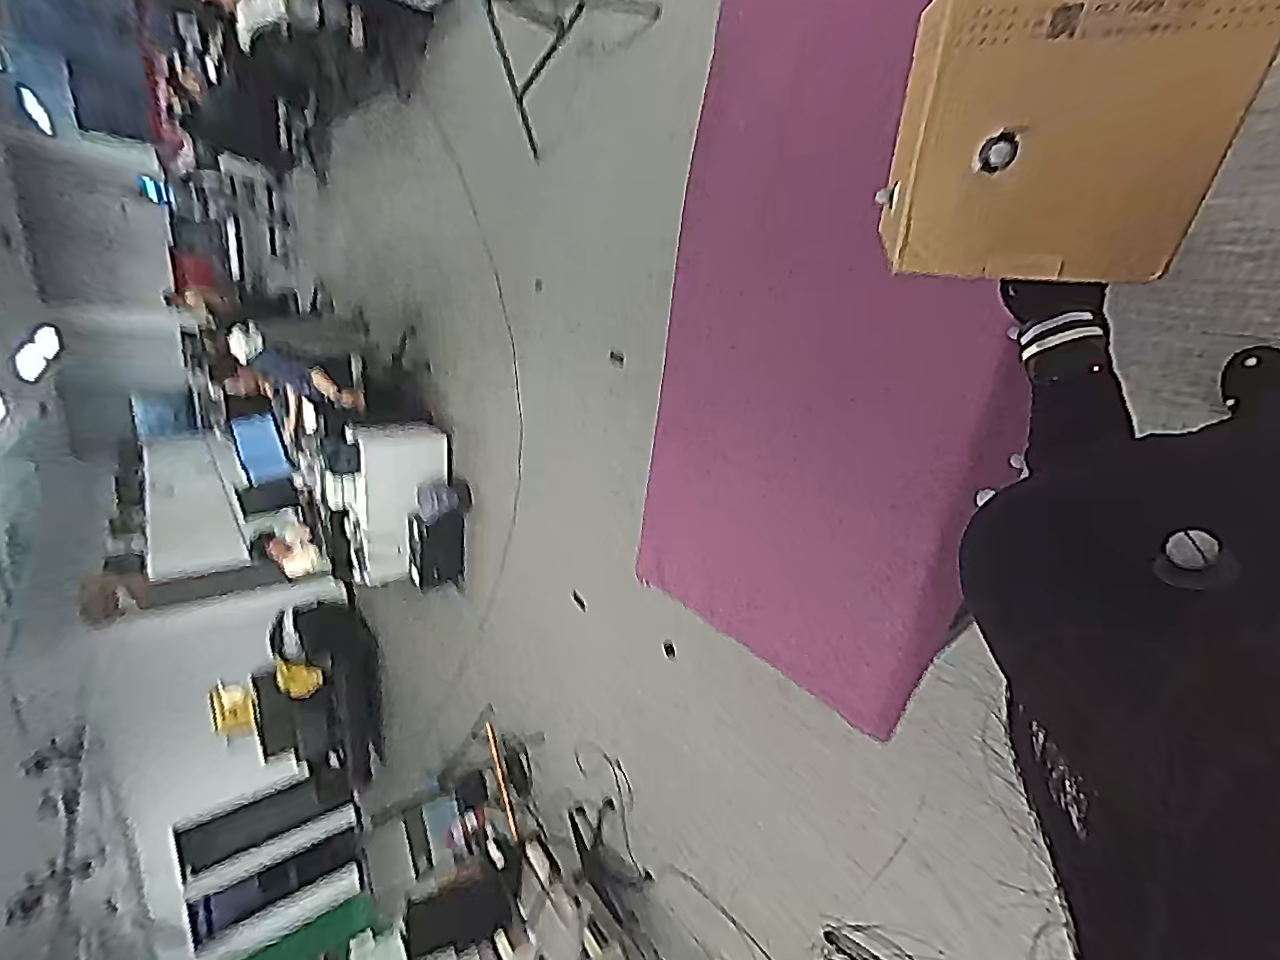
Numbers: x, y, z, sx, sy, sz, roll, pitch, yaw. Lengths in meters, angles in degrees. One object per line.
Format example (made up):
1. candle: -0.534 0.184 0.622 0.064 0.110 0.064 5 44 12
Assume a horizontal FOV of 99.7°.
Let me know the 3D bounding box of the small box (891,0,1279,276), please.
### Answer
1. small box: 0.285 -0.256 0.383 0.168 0.179 0.176 10 129 17
